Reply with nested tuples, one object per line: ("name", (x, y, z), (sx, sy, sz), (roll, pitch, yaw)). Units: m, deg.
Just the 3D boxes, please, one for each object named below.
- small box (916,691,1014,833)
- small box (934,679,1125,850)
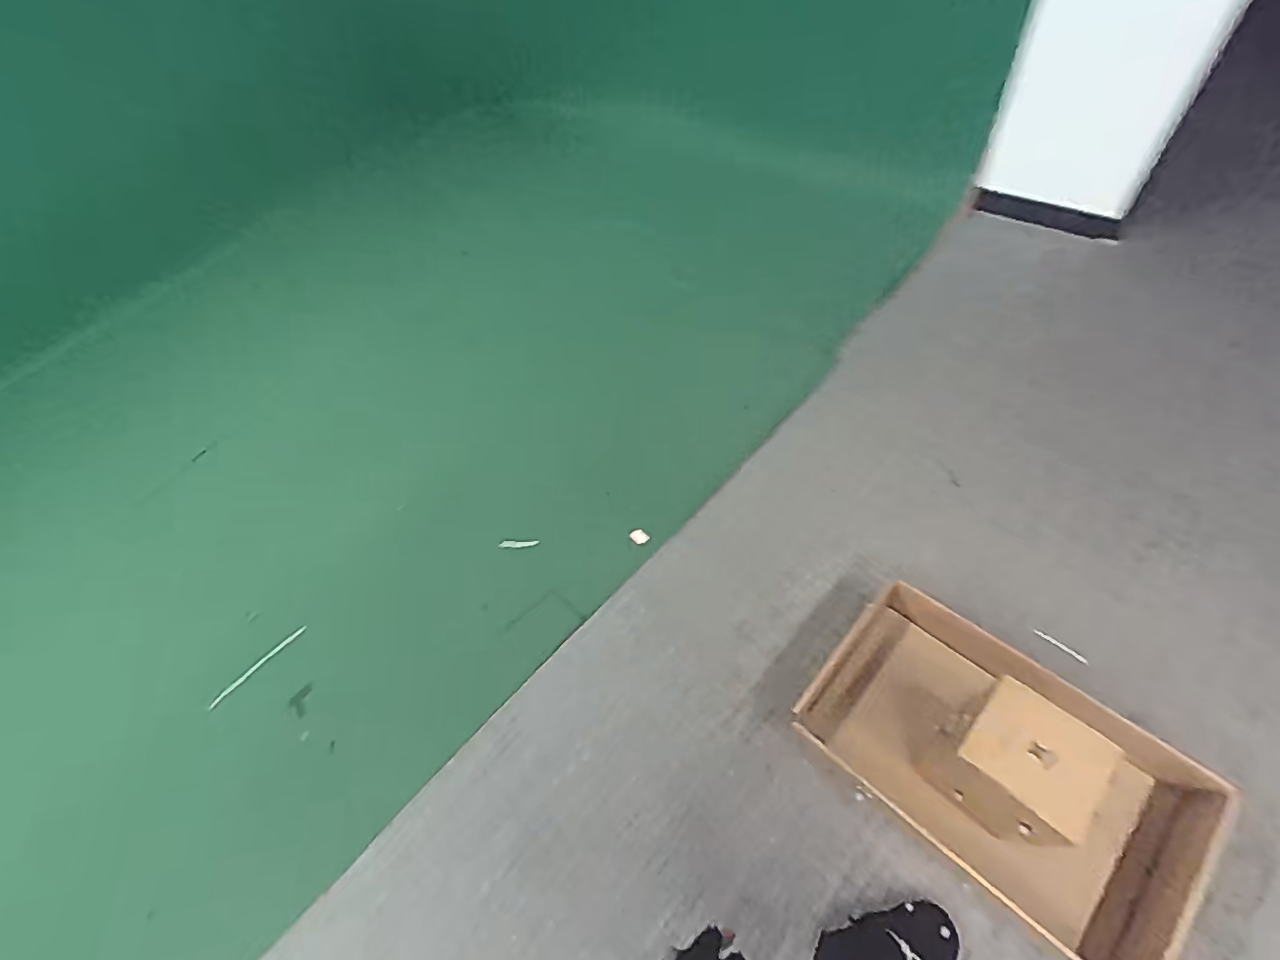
("small box", (0.663, 0.546, 1.037), (0.179, 0.176, 0.168), (34, 68, 29))
("small box", (0.620, 0.461, 0.882), (0.179, 0.176, 0.168), (32, 68, 28))
